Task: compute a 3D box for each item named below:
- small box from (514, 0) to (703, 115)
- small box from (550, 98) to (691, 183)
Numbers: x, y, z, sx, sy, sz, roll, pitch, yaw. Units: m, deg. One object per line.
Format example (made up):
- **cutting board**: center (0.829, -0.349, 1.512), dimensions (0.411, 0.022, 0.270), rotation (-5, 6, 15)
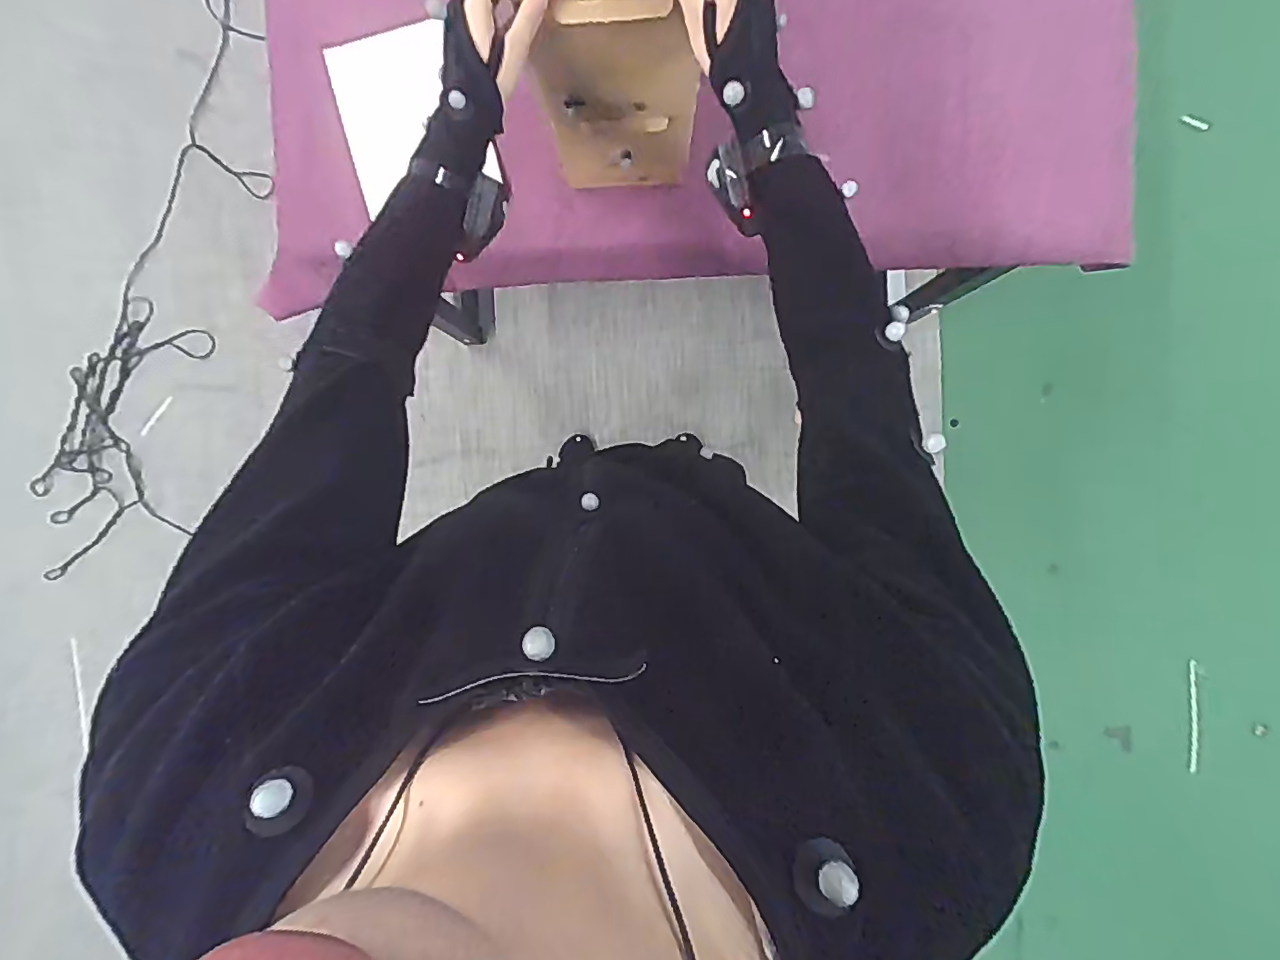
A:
- **small box**: center (-0.023, -0.489, 0.526), dimensions (0.168, 0.176, 0.179), rotation (-1, 91, 1)
- **small box**: center (-0.020, -0.502, 0.691), dimensions (0.168, 0.176, 0.179), rotation (-1, 93, 1)
